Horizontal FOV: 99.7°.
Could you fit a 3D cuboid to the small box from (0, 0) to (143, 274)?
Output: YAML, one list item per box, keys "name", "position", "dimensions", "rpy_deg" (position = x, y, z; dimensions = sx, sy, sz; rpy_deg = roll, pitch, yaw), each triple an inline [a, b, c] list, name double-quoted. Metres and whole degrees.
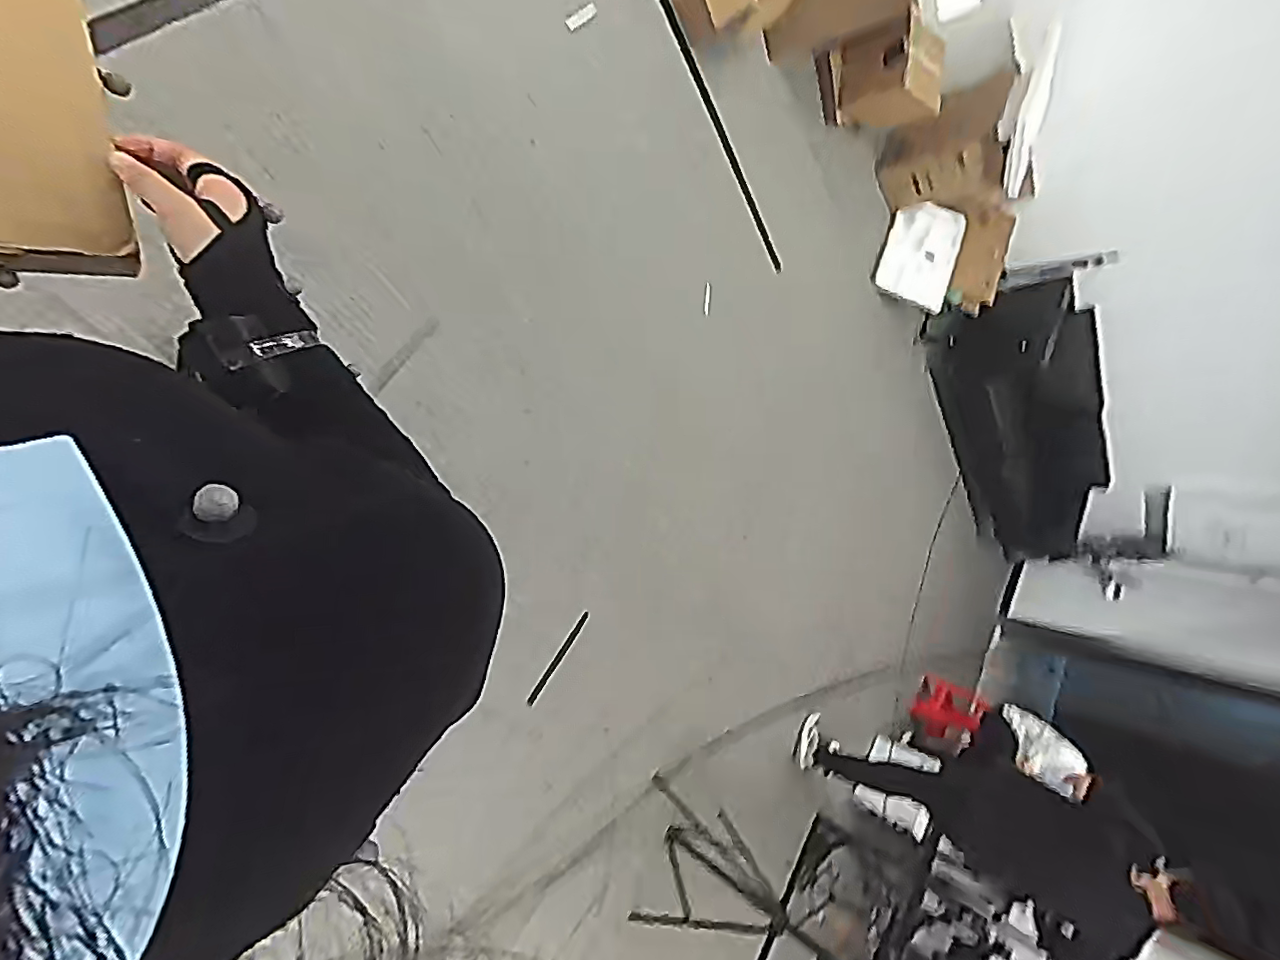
- name: "small box"
  position: [-0.483, -0.250, 0.382]
  dimensions: [0.168, 0.176, 0.179]
  rpy_deg: [-14, 111, -41]
